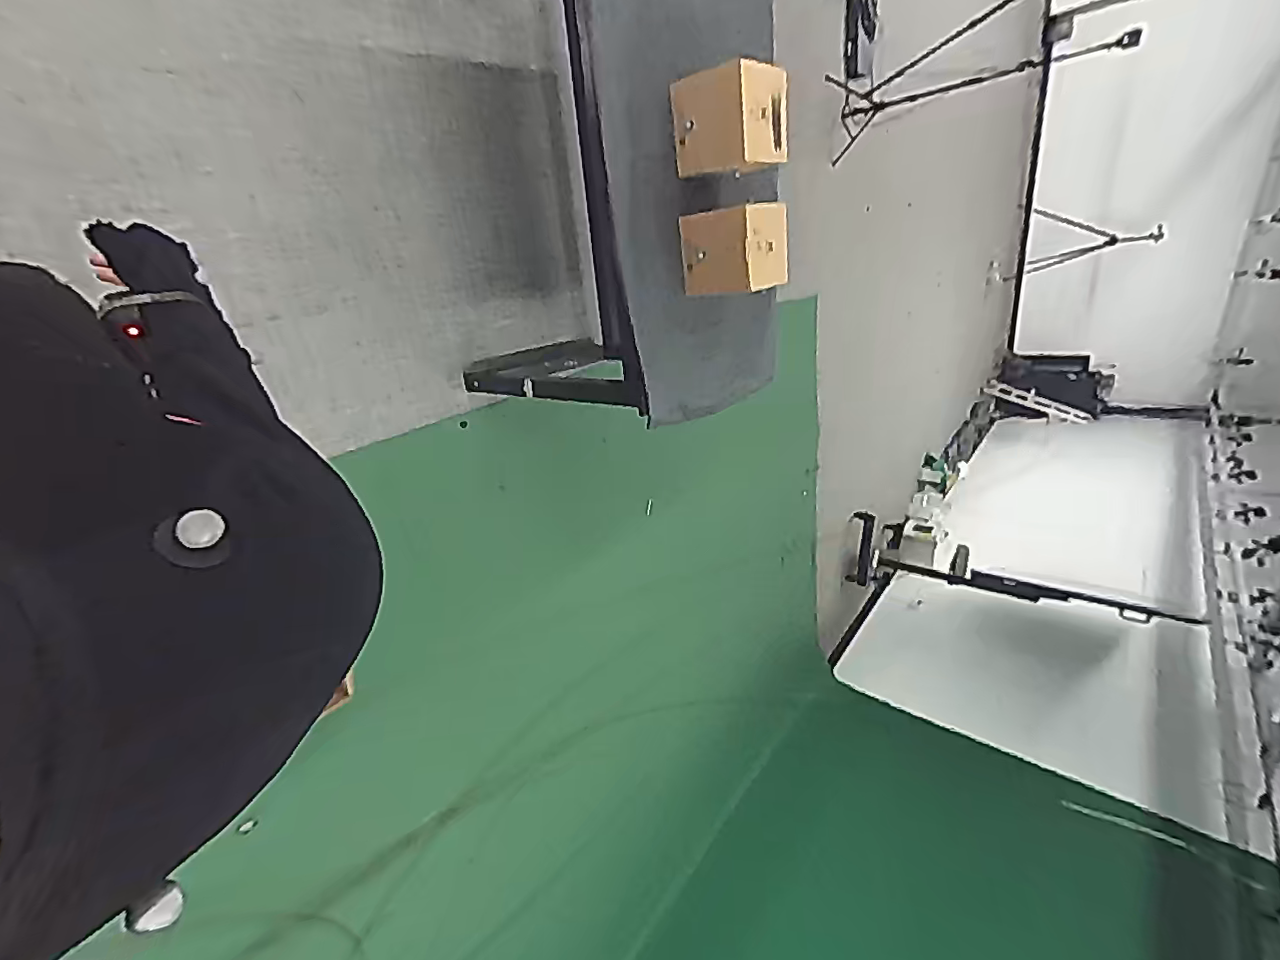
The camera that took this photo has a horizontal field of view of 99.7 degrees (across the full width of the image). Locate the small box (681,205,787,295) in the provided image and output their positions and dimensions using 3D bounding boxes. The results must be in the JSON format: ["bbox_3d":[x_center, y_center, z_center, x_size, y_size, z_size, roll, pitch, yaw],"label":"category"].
[{"bbox_3d":[0.211,-0.510,1.201,0.179,0.176,0.168,-29,120,-42],"label":"small box"}]
